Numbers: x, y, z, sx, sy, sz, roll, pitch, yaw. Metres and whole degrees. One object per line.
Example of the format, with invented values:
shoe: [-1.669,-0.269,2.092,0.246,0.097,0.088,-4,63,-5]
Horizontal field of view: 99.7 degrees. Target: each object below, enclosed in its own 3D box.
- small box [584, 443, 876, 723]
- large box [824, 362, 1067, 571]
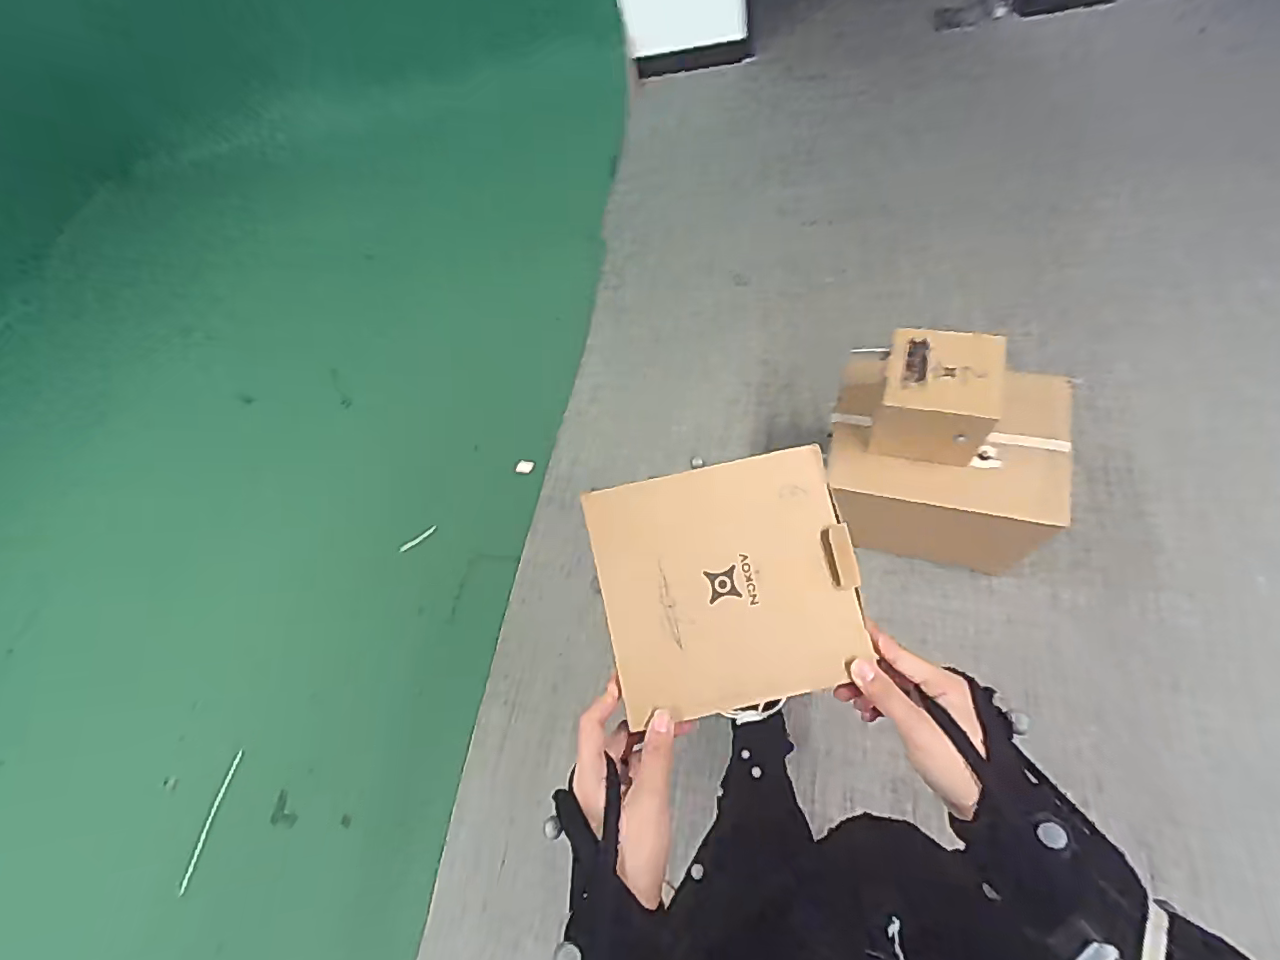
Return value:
small box: [0.061,0.079,0.453,0.179,0.176,0.168,-13,81,0]
large box: [0.612,-0.024,1.166,0.408,0.320,0.320,10,69,18]
